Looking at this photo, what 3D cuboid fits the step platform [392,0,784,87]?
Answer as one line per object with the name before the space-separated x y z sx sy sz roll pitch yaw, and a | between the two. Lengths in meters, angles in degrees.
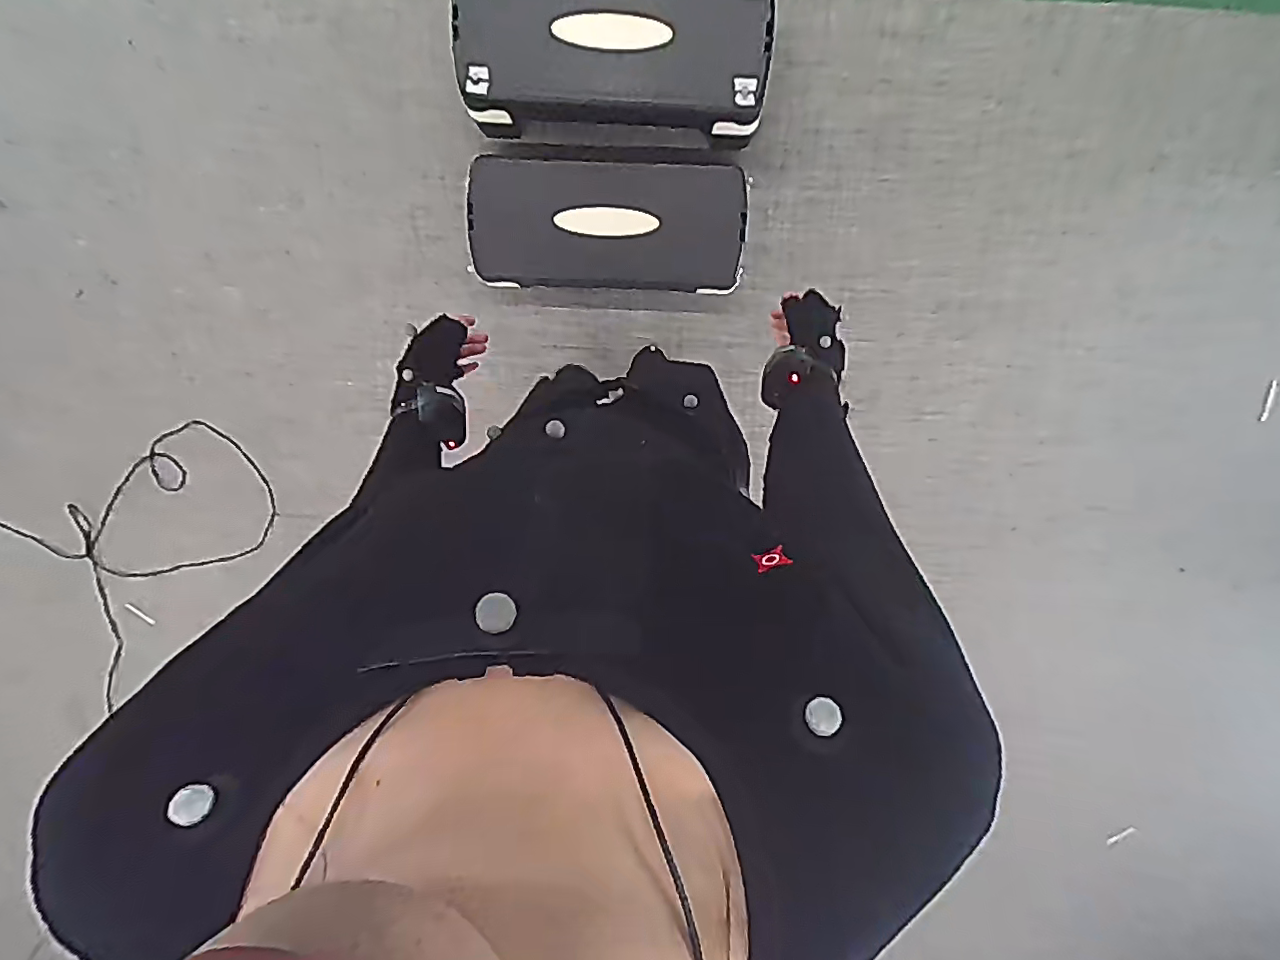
step platform | -0.084 -0.914 0.977 0.684 0.204 0.286 3 104 1
